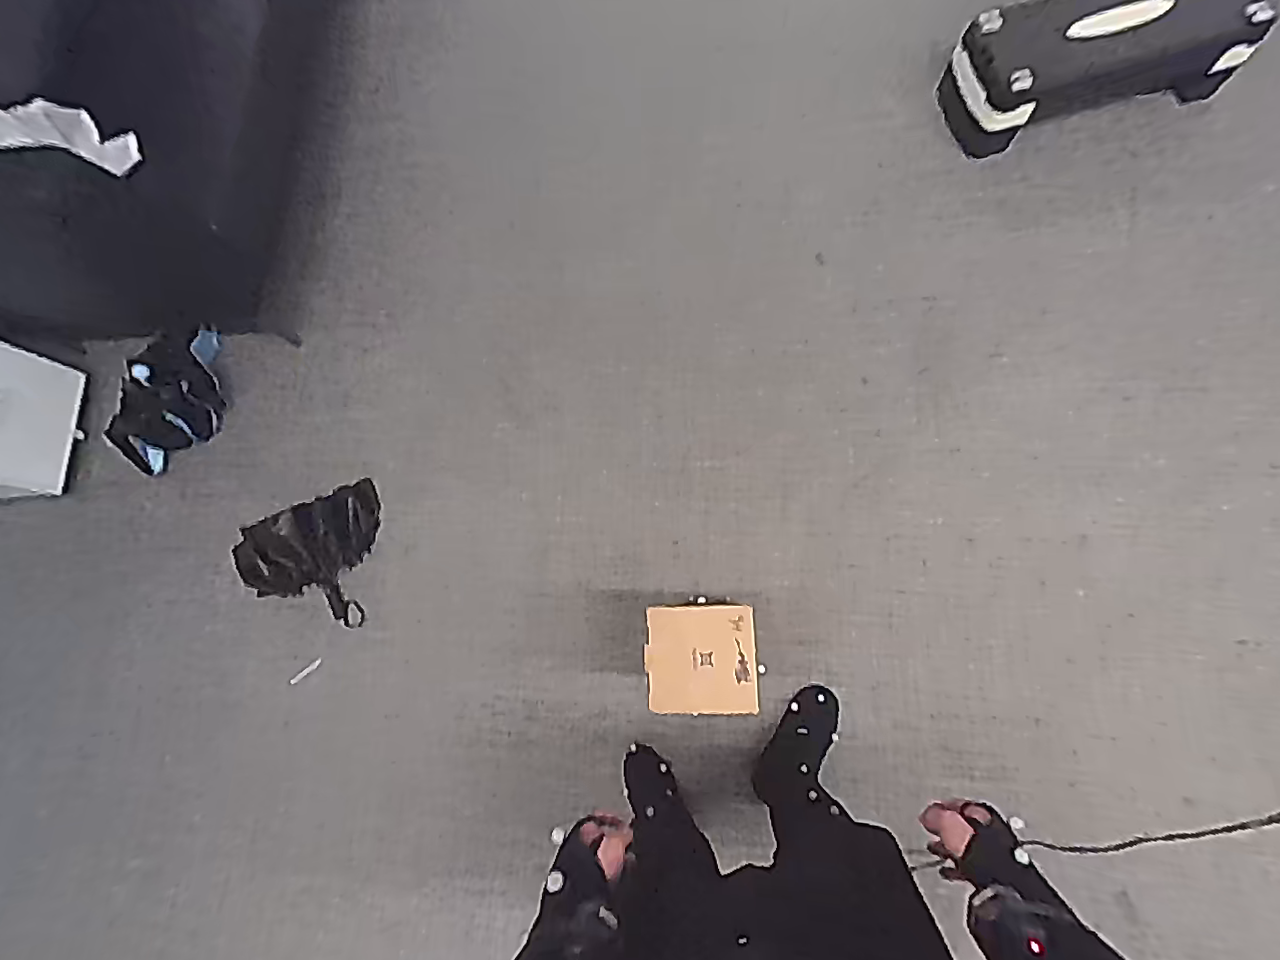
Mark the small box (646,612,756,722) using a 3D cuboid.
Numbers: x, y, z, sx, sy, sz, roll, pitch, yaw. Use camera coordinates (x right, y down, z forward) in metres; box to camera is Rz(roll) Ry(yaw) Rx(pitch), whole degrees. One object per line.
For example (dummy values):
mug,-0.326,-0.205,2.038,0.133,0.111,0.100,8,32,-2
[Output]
small box,0.110,0.317,0.940,0.179,0.176,0.168,-3,75,10
